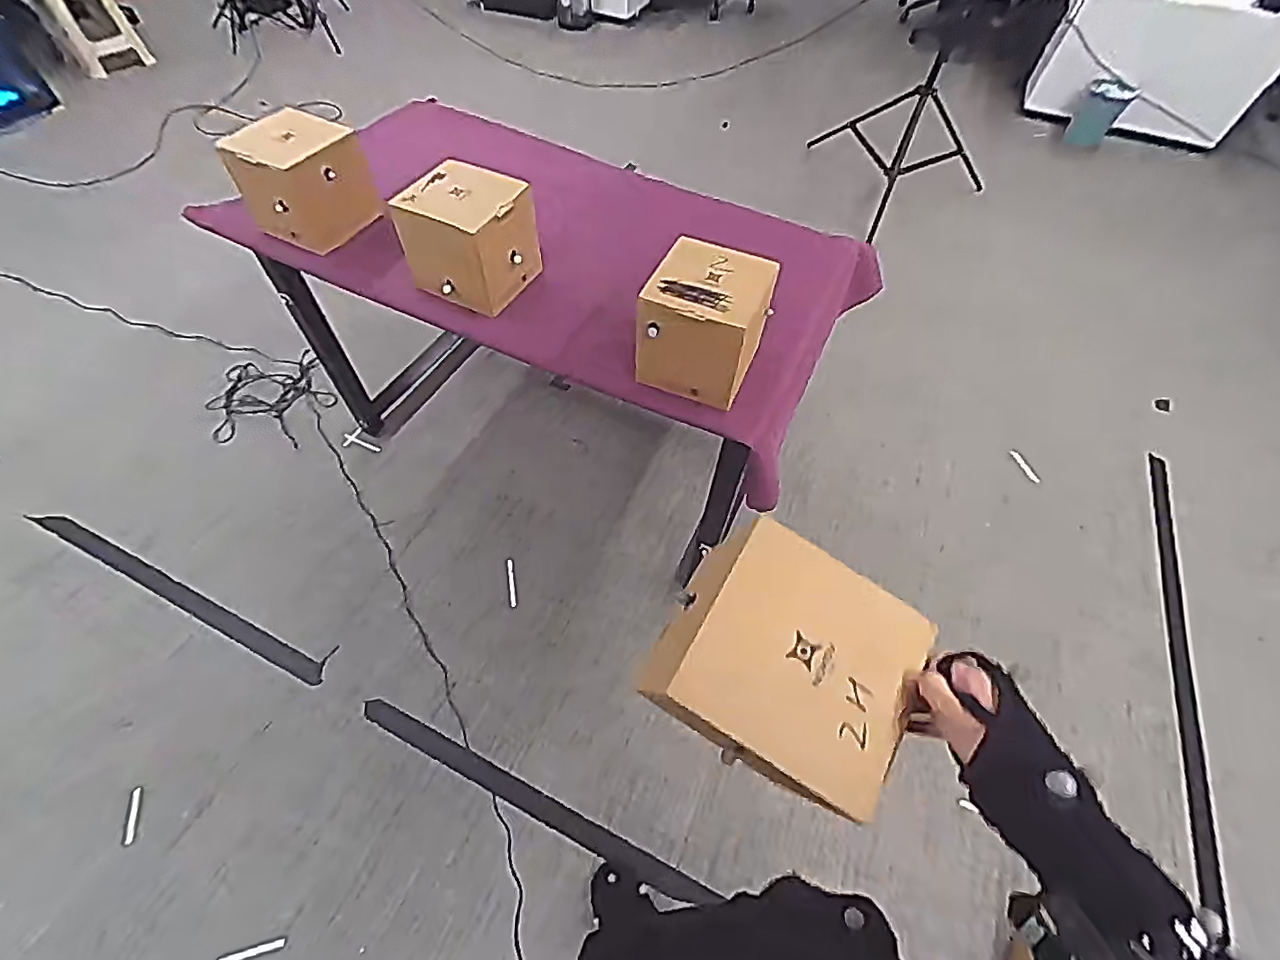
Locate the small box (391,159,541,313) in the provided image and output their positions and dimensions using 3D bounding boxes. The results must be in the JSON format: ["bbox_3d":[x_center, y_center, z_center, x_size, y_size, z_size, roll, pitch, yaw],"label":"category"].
[{"bbox_3d":[-0.293,-0.426,0.960,0.179,0.176,0.168,24,59,12],"label":"small box"}]

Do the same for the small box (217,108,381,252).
[{"bbox_3d":[-0.637,-0.571,1.039,0.168,0.176,0.179,25,58,11],"label":"small box"}]

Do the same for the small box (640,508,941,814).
[{"bbox_3d":[0.118,0.156,0.486,0.179,0.176,0.168,33,69,2],"label":"small box"}]

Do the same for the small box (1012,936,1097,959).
[{"bbox_3d":[0.793,0.970,0.971,0.168,0.176,0.179,27,60,14],"label":"small box"}]
